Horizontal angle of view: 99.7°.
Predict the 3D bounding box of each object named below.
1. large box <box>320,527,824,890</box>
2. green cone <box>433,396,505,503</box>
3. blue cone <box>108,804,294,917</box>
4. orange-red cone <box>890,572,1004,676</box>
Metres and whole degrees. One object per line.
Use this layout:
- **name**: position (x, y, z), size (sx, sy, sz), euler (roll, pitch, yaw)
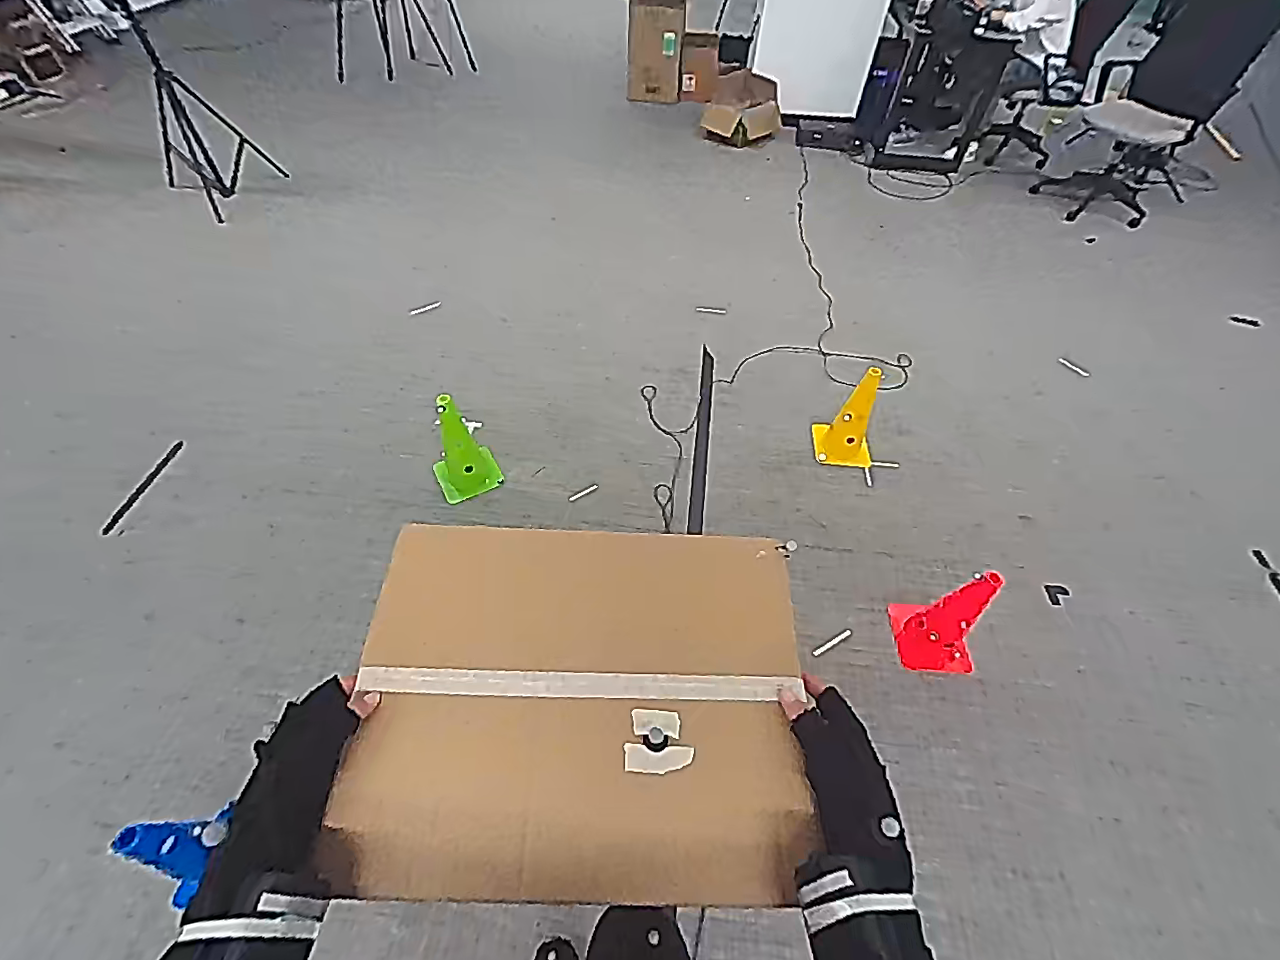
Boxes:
- **large box**: position (-0.057, 0.268, 0.626), size (0.408, 0.320, 0.320), euler (3, 57, -2)
- **green cone**: position (-0.590, -0.131, 1.742), size (0.202, 0.368, 0.200), euler (-25, 55, -19)
- **blue cone**: position (-0.876, 0.725, 1.058), size (0.192, 0.380, 0.193), euler (8, 51, 6)
- **orange-red cone**: position (0.836, 0.345, 1.418), size (0.198, 0.360, 0.199), euler (5, 50, 1)
